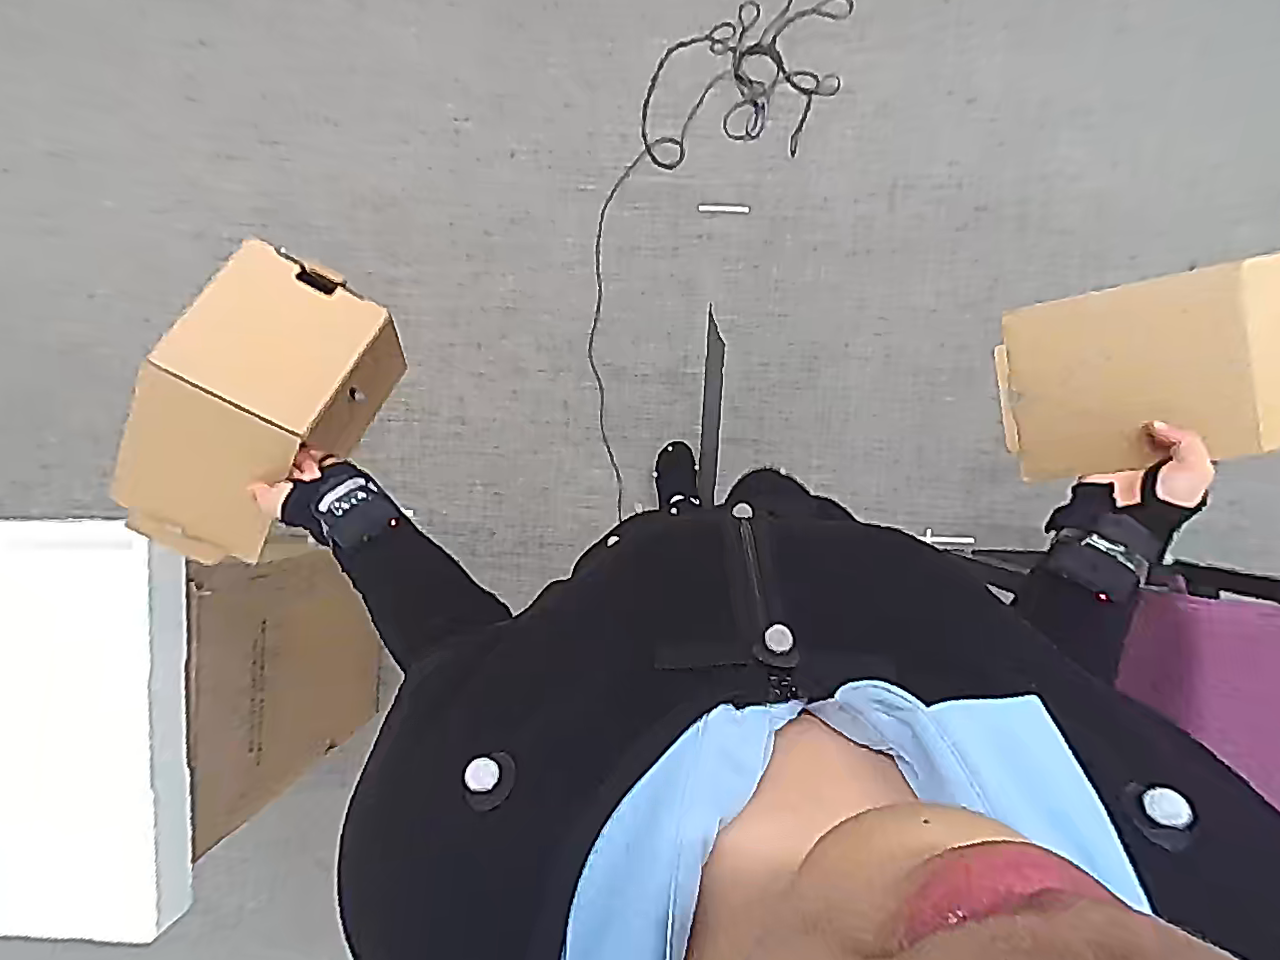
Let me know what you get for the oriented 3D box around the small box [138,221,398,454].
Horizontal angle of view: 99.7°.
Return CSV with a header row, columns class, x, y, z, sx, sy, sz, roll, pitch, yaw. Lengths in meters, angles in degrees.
class,x,y,z,sx,sy,sz,roll,pitch,yaw
small box,-0.410,-0.151,0.641,0.168,0.176,0.179,29,72,-11
